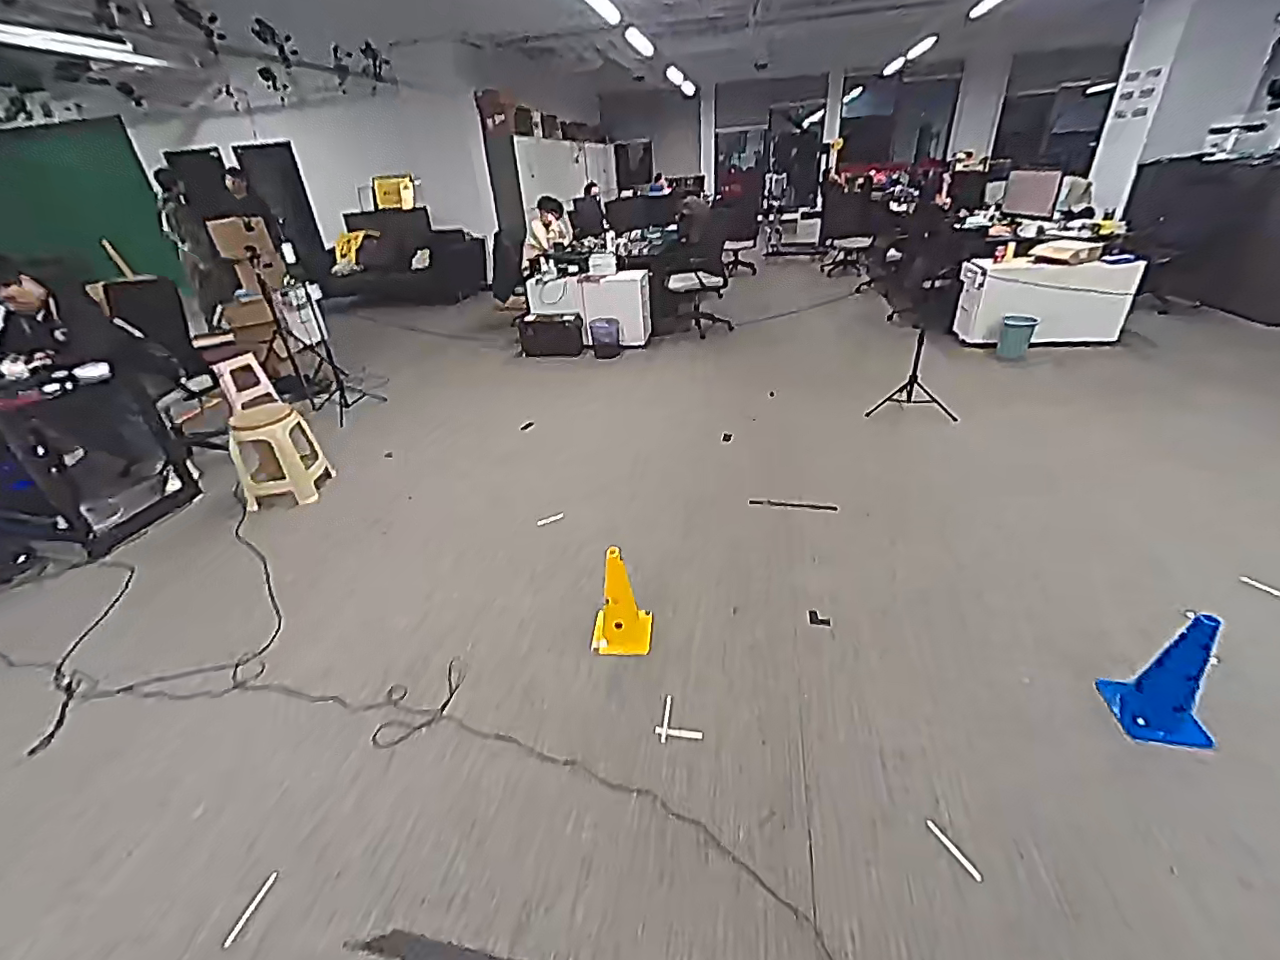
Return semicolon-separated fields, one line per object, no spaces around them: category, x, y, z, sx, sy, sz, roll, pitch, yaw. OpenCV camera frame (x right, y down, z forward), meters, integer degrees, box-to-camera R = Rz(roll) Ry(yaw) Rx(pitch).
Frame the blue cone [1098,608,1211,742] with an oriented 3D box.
blue cone;1.414;0.498;1.430;0.193;0.380;0.192;3;29;13
